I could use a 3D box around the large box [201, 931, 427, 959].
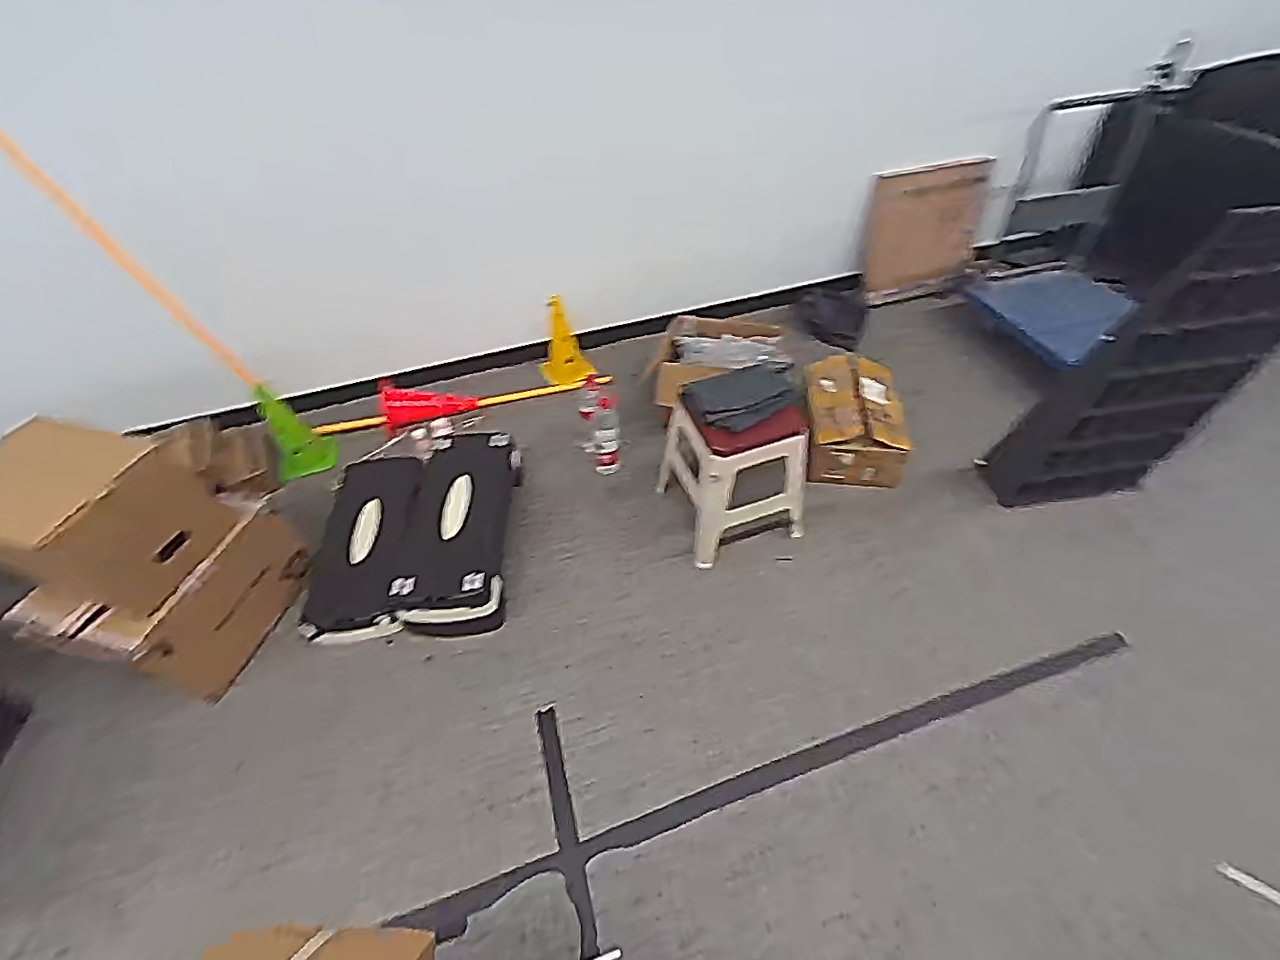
[{"bbox_3d":[-0.478,0.792,0.593,0.320,0.408,0.320,-2,76,4],"label":"large box"}]
